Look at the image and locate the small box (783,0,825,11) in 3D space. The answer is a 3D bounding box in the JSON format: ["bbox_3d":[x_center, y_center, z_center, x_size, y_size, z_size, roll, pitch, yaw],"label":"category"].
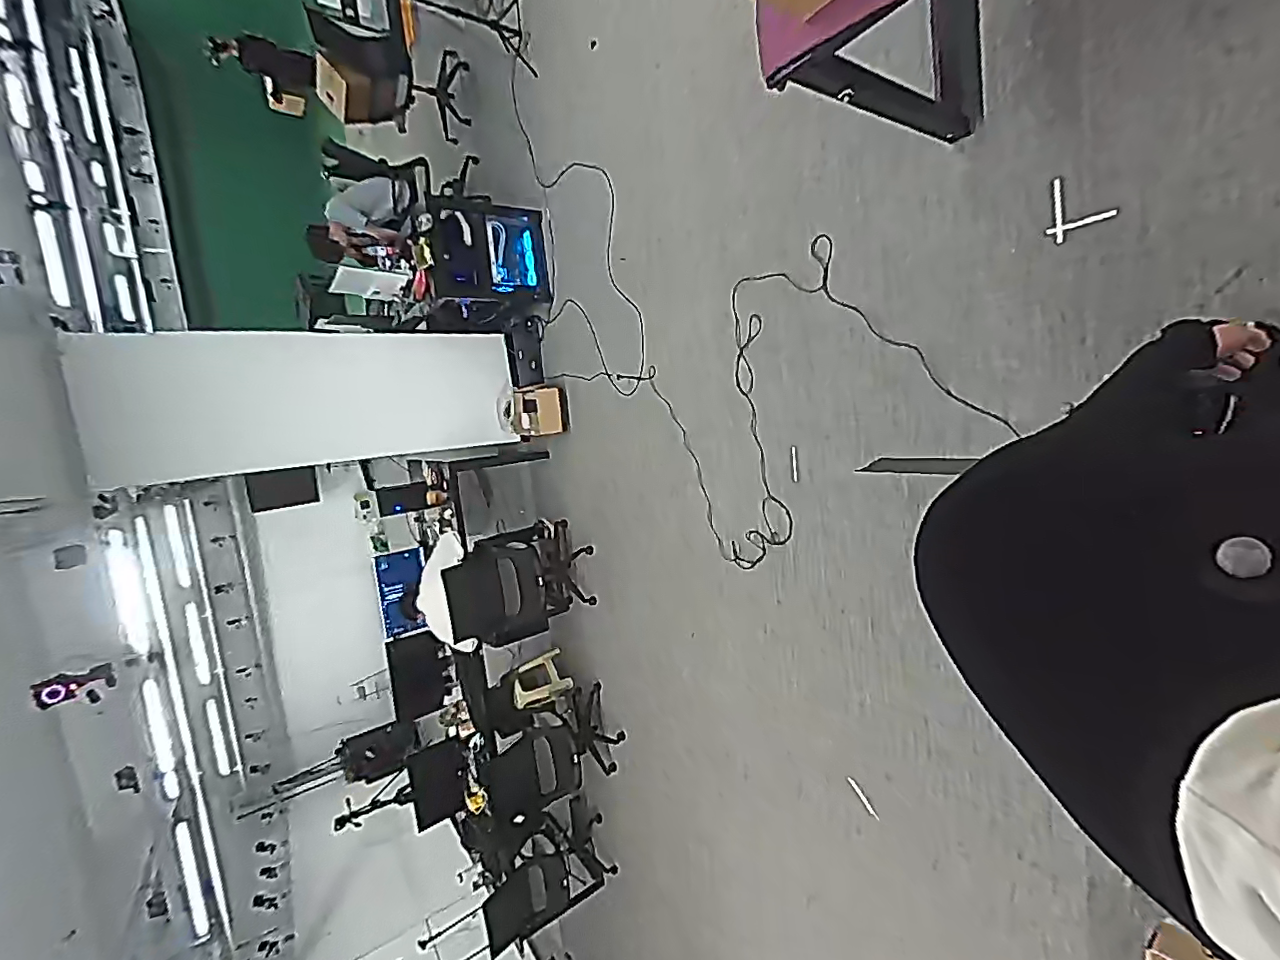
[{"bbox_3d":[0.283,-0.927,0.884,0.179,0.176,0.168,5,104,56],"label":"small box"}]
